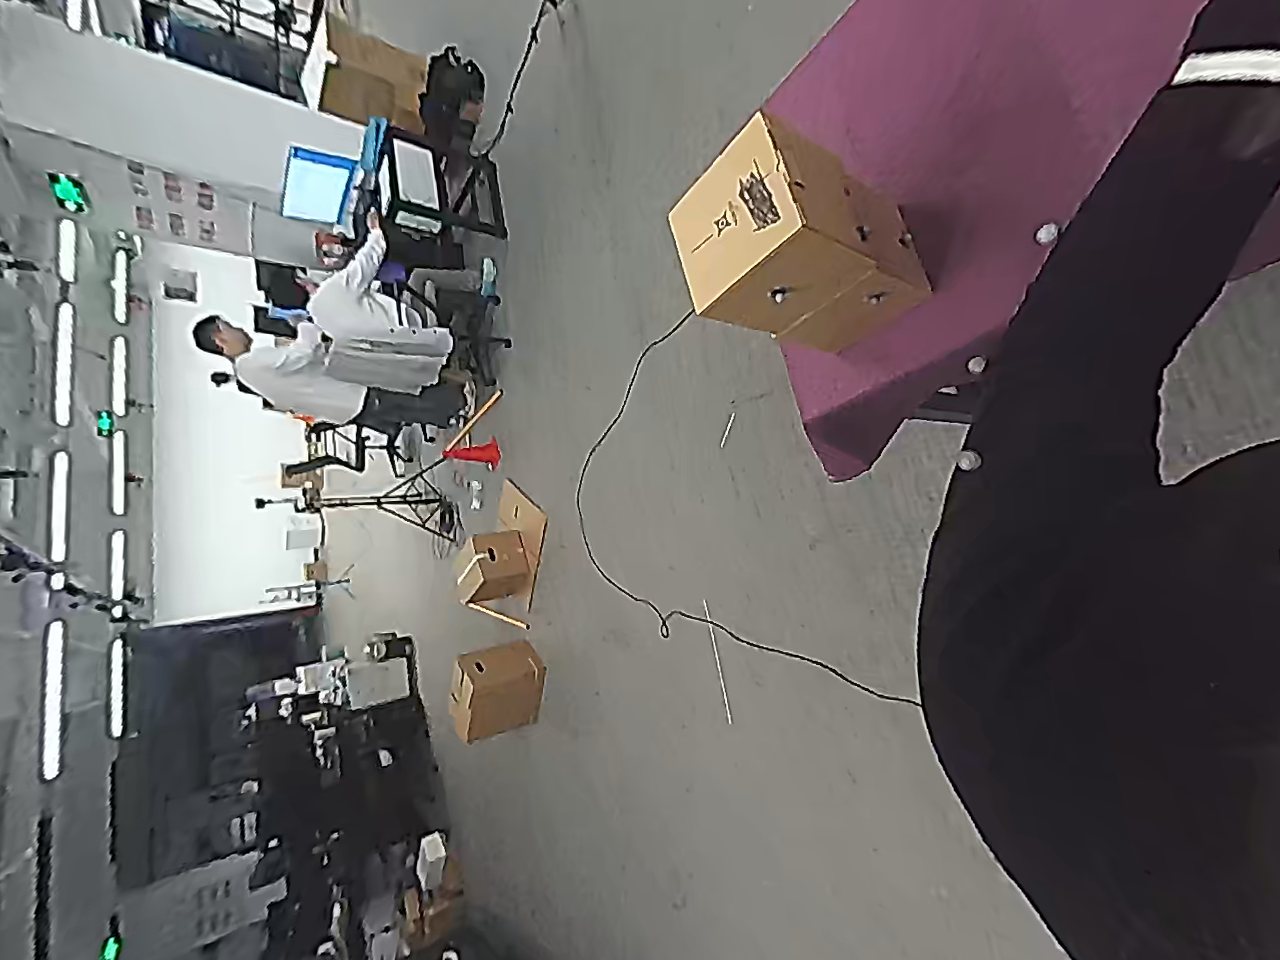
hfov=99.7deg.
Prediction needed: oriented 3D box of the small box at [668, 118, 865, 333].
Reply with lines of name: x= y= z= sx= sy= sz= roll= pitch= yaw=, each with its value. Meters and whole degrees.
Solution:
small box: x=0.170 y=-0.316 z=0.715 sx=0.179 sy=0.176 sz=0.168 roll=-31 pitch=67 yaw=48
